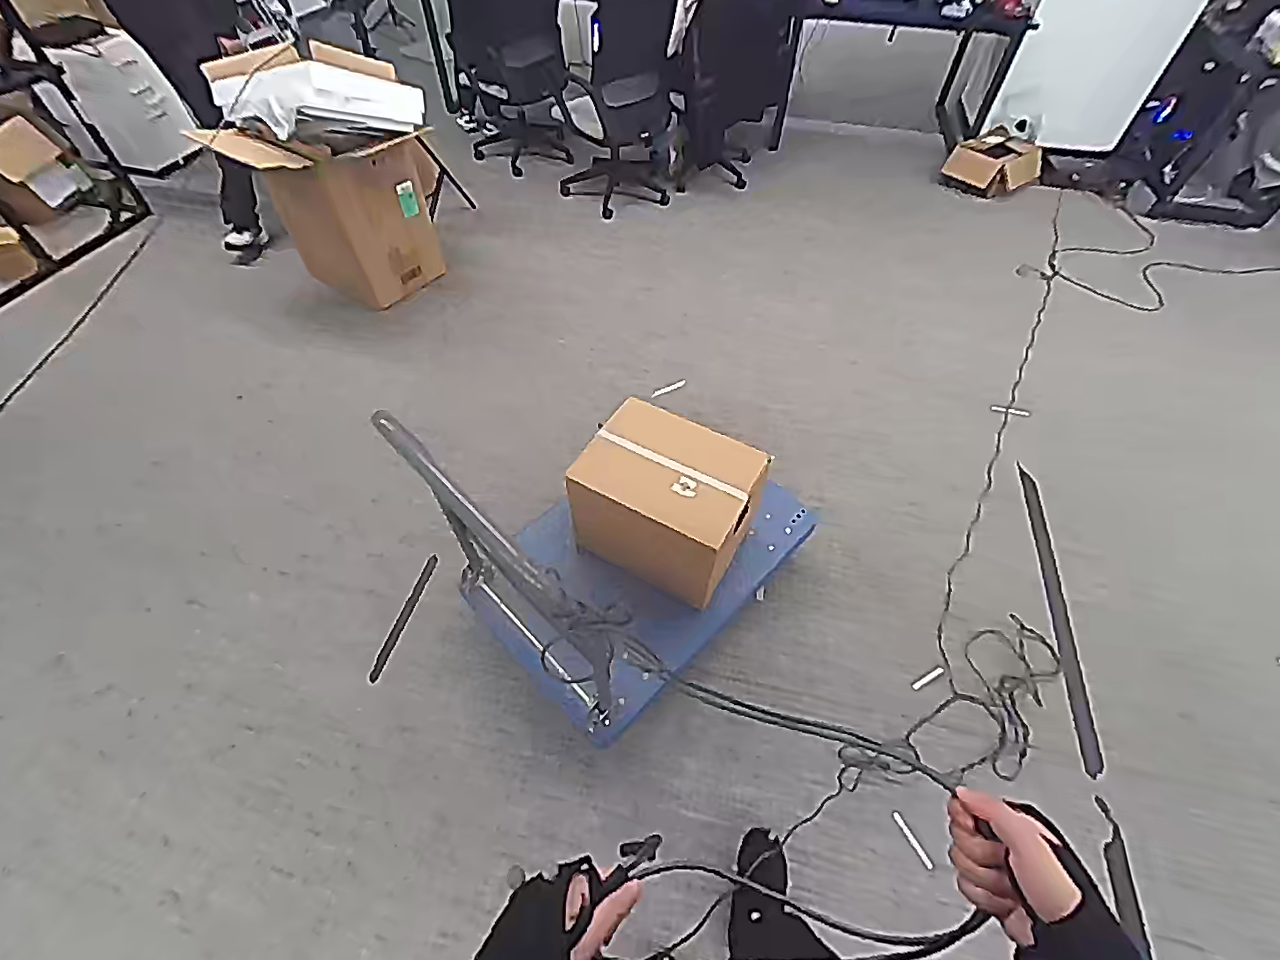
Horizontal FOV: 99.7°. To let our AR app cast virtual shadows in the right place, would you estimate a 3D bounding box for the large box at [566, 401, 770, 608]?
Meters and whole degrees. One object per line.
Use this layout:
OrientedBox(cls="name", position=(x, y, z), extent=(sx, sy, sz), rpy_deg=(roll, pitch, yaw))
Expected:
OrientedBox(cls="large box", position=(0.066, 0.061, 1.399), extent=(0.408, 0.320, 0.320), rpy_deg=(25, 57, 16))
